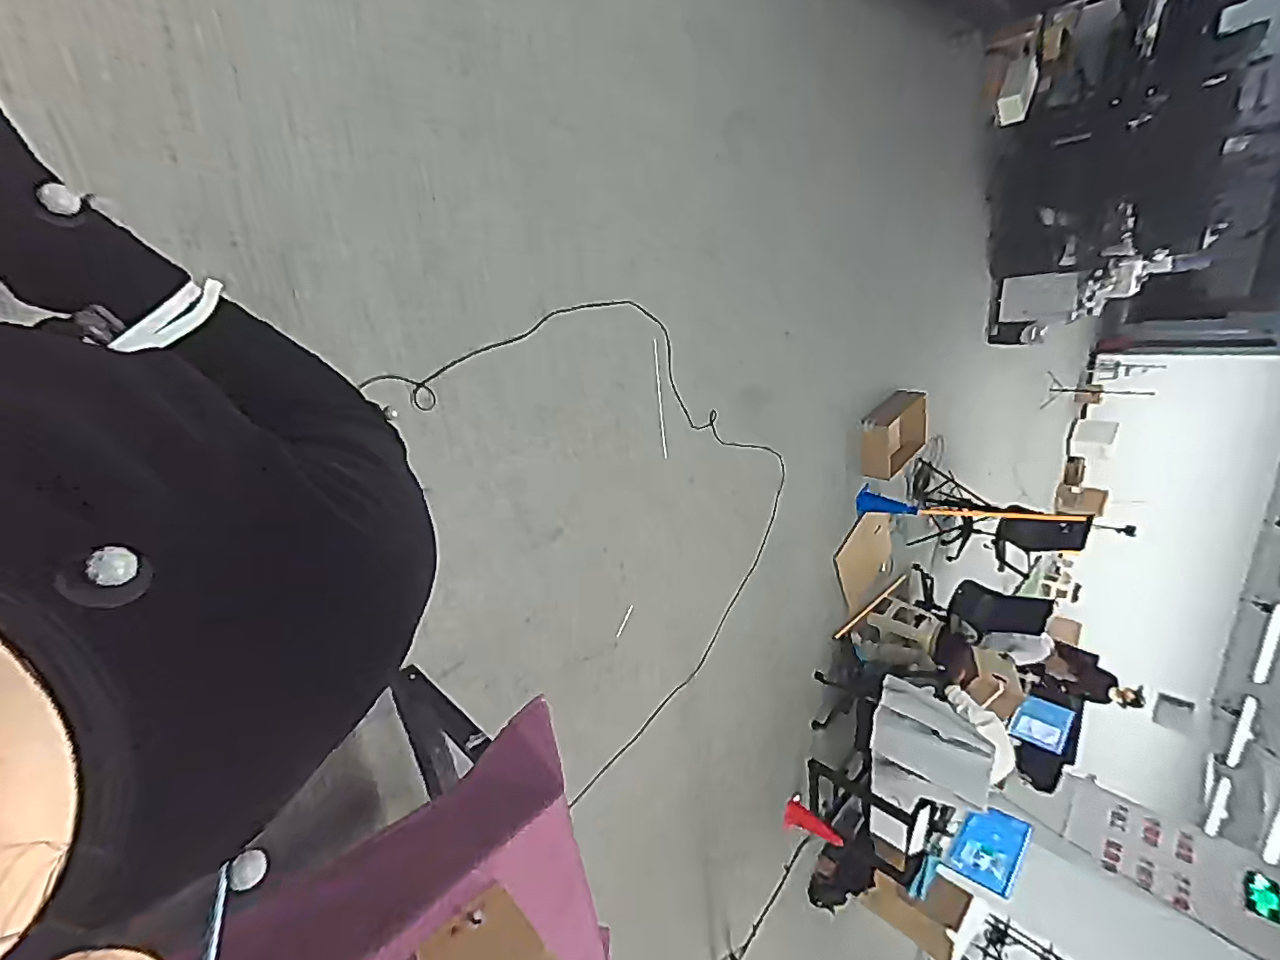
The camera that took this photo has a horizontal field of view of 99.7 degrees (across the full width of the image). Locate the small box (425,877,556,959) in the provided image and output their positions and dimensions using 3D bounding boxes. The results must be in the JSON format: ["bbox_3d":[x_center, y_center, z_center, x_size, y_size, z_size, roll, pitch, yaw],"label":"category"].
[{"bbox_3d":[-0.256,0.866,0.953,0.168,0.176,0.179,-19,112,-41],"label":"small box"}]
